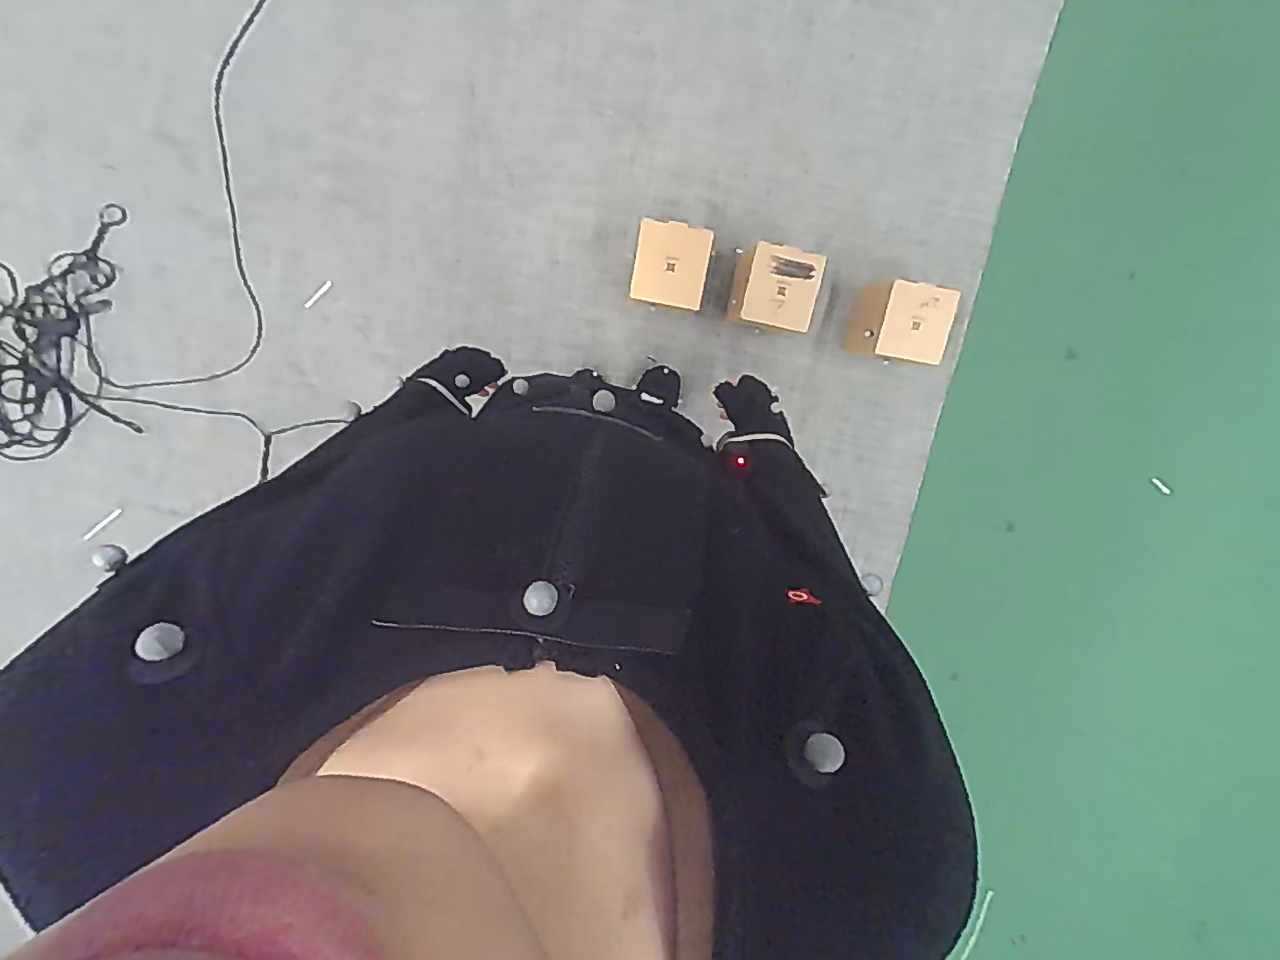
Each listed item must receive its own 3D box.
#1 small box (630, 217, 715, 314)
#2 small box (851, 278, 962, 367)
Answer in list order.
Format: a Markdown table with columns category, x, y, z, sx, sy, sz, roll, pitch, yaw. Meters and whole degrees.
| category | x | y | z | sx | sy | sz | roll | pitch | yaw |
| --- | --- | --- | --- | --- | --- | --- | --- | --- | --- |
| small box | 0.071 | -0.502 | 1.288 | 0.168 | 0.176 | 0.179 | 9 | 102 | -4 |
| small box | 0.647 | -0.385 | 1.337 | 0.168 | 0.176 | 0.179 | 9 | 103 | -5 |
